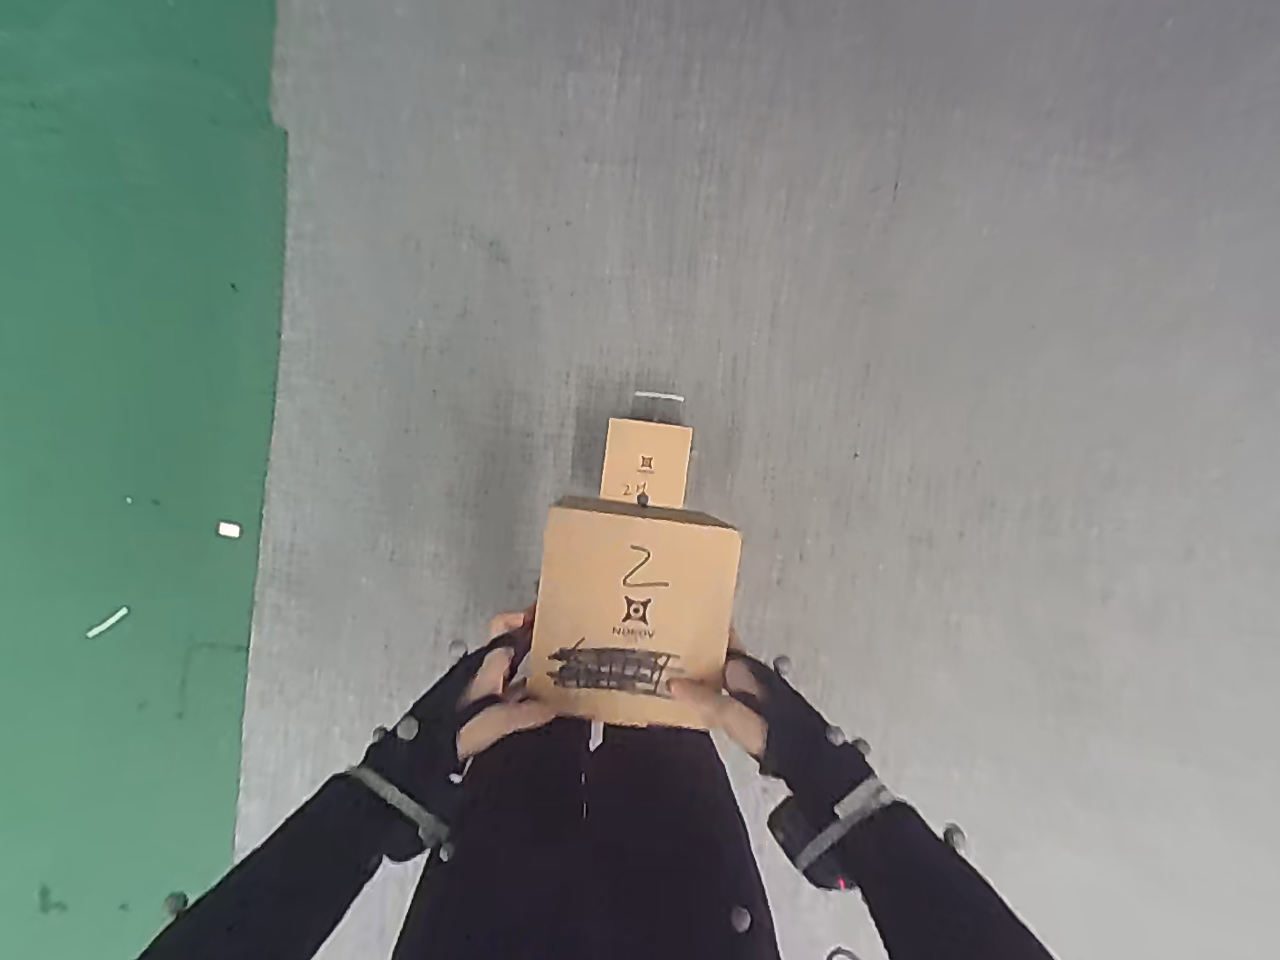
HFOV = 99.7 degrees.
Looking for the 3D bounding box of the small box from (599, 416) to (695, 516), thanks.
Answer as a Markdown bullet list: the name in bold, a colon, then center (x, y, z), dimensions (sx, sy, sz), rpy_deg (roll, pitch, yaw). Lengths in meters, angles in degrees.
- **small box**: center (0.015, -0.033, 1.125), dimensions (0.168, 0.176, 0.179), rpy_deg (8, 95, 2)
